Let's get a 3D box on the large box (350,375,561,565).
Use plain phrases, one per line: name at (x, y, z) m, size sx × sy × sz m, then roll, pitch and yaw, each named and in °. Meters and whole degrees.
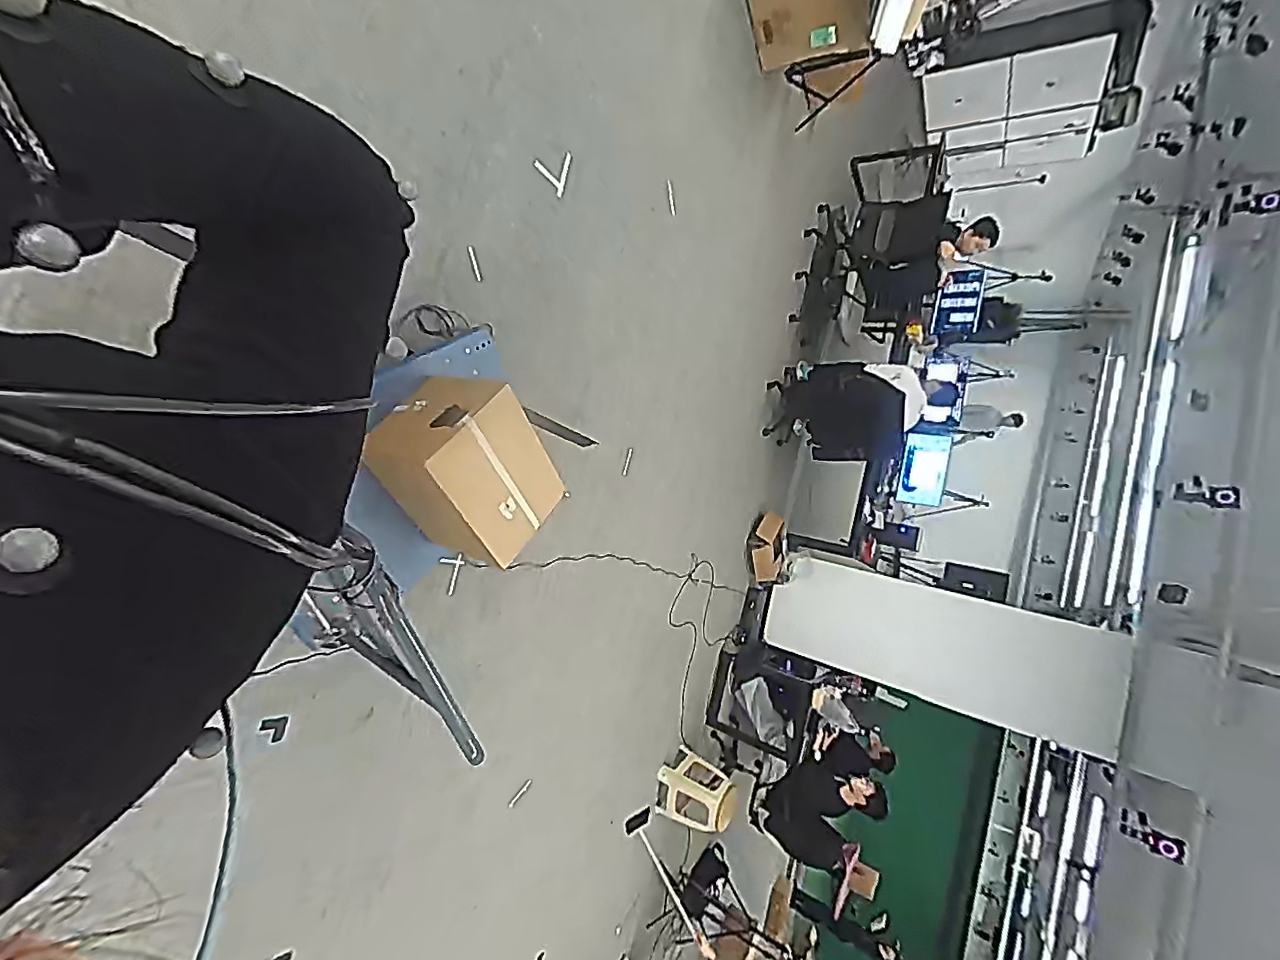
large box at (-0.488, -0.034, 1.490) m, size 0.320 × 0.320 × 0.408 m, roll -55°, pitch 141°, yaw -32°
